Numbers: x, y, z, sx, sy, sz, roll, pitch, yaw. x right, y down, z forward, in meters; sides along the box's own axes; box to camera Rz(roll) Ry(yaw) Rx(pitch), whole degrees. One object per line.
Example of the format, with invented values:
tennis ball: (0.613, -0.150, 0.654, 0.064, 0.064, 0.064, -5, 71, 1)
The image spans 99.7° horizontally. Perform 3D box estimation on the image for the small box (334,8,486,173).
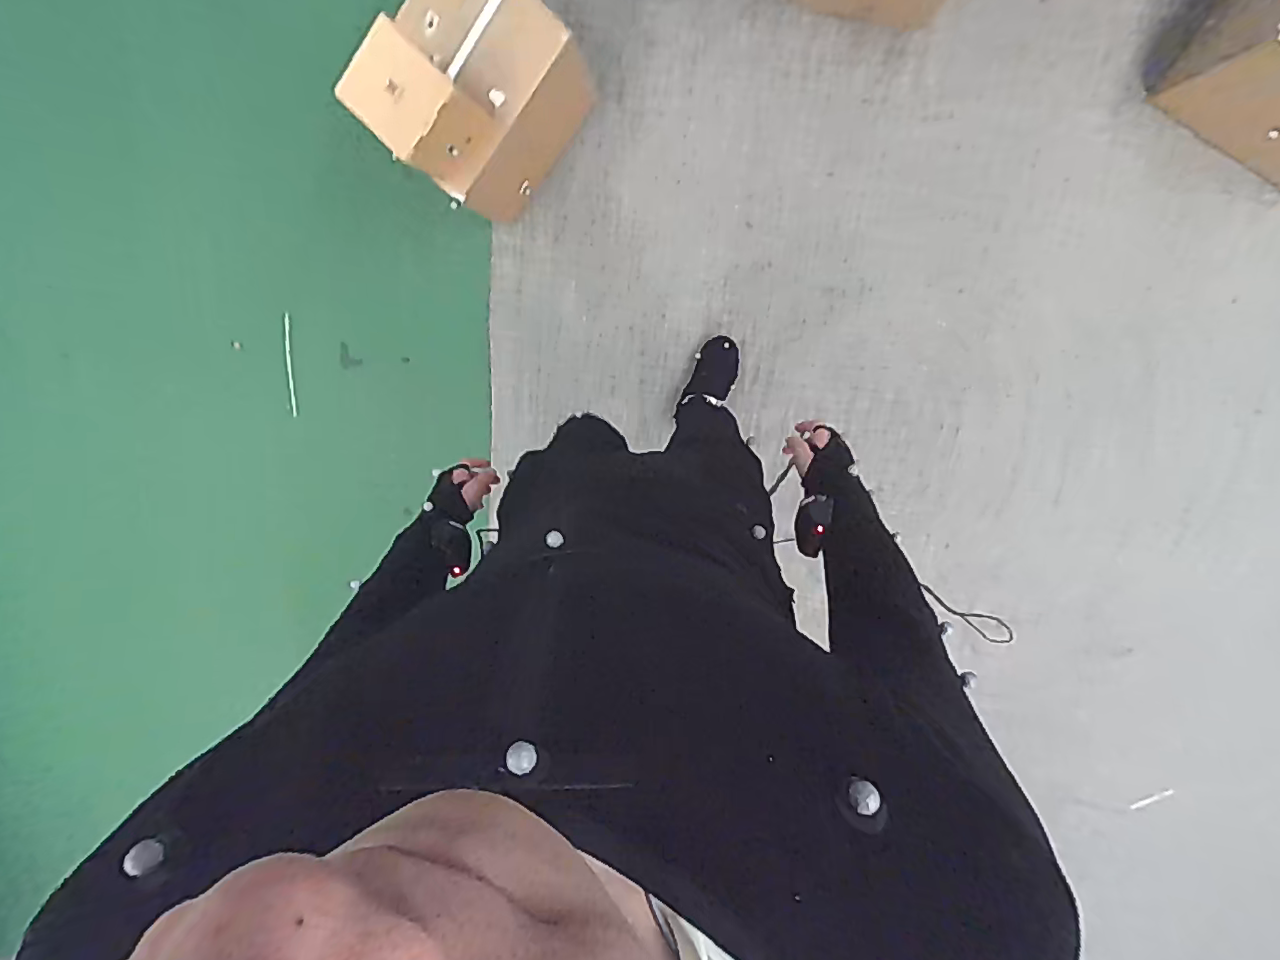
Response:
small box: (-0.437, -0.740, 1.055, 0.179, 0.176, 0.168, 43, 106, -8)

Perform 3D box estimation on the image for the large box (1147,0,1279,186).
large box: (1.367, -0.836, 1.046, 0.408, 0.320, 0.320, 31, 108, -1)
